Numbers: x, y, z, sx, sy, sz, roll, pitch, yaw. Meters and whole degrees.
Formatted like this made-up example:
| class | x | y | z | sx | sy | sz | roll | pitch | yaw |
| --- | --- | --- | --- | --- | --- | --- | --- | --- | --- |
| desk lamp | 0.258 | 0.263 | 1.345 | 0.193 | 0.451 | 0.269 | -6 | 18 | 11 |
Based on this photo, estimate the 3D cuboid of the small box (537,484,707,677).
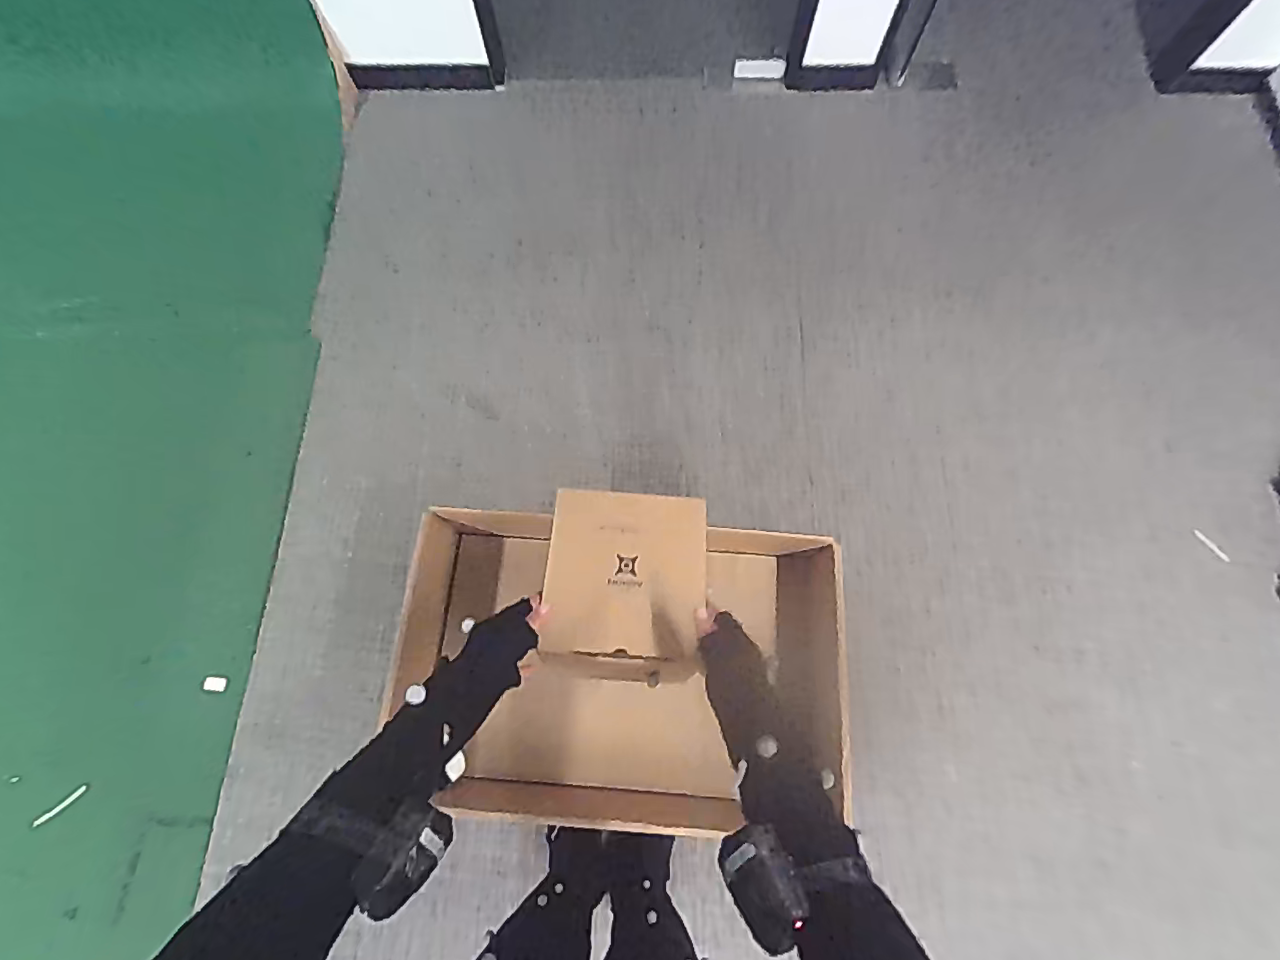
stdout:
| class | x | y | z | sx | sy | sz | roll | pitch | yaw |
| --- | --- | --- | --- | --- | --- | --- | --- | --- | --- |
| small box | -0.016 | 0.124 | 0.623 | 0.168 | 0.176 | 0.179 | 4 | 62 | -2 |
